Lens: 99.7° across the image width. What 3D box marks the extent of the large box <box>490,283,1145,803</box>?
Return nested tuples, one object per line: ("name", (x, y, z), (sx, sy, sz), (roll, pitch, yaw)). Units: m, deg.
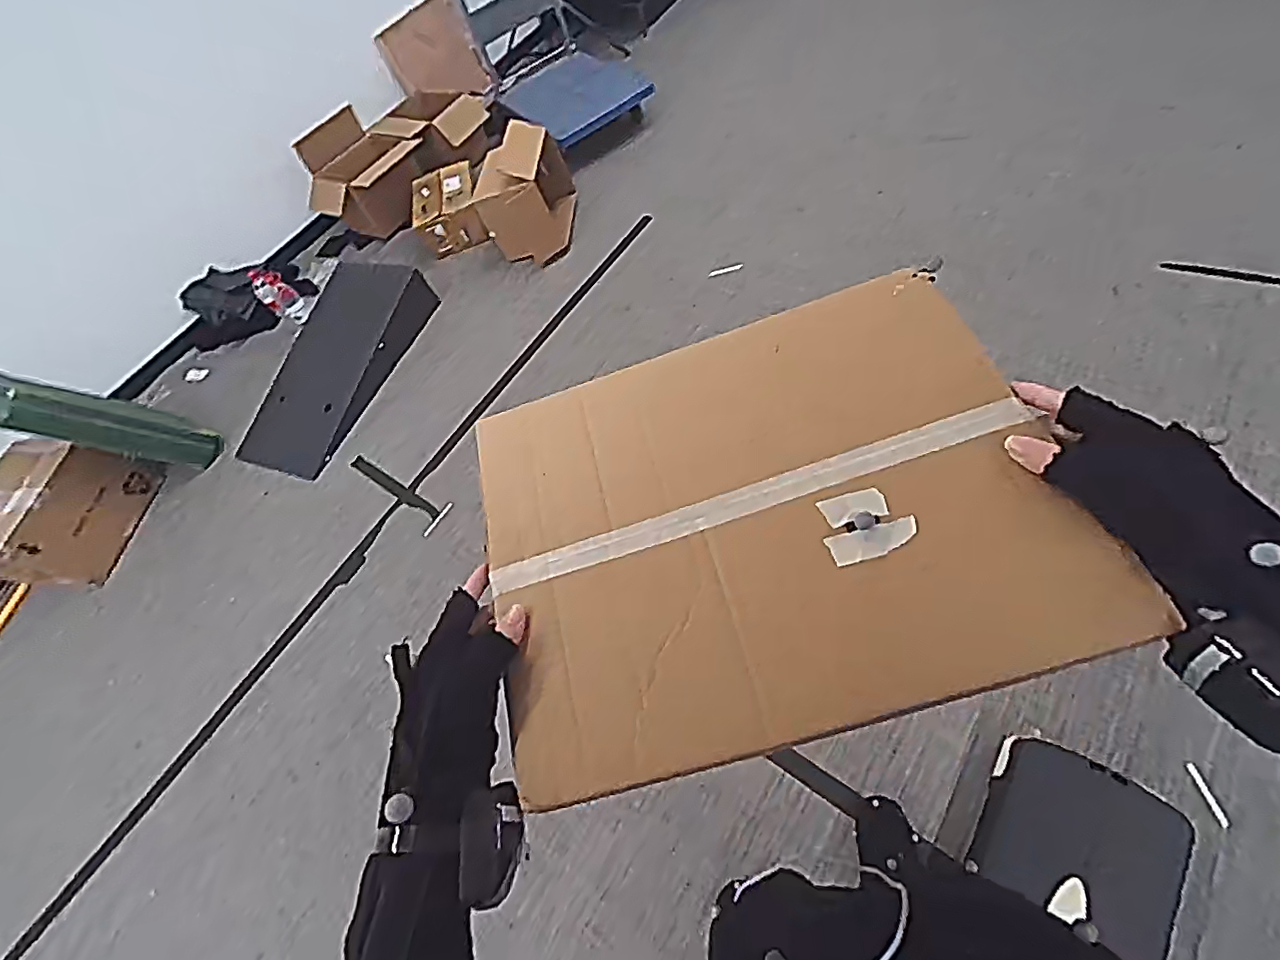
("large box", (0.116, 0.085, 0.541), (0.408, 0.320, 0.320), (-19, 62, 4))
